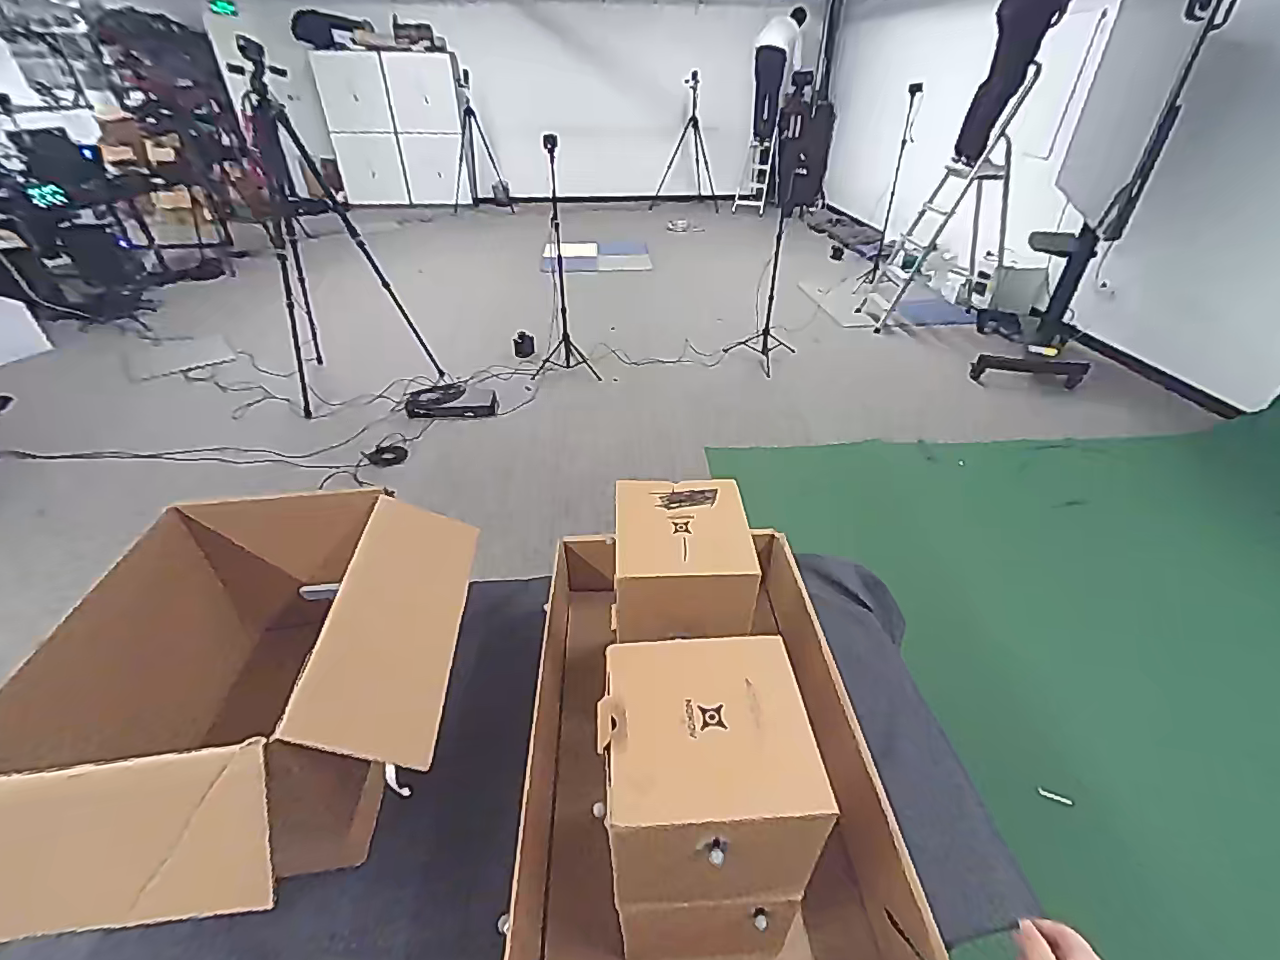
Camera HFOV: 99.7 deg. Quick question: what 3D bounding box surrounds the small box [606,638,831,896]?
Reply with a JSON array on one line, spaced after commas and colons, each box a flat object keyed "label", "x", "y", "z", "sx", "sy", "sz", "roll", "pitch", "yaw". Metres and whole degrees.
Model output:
[{"label": "small box", "x": 0.059, "y": 0.275, "z": 0.524, "sx": 0.179, "sy": 0.176, "sz": 0.168, "roll": -2, "pitch": 36, "yaw": -3}]

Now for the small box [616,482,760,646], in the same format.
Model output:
[{"label": "small box", "x": 0.052, "y": 0.121, "z": 0.725, "sx": 0.168, "sy": 0.176, "sz": 0.179, "roll": -1, "pitch": 39, "yaw": -2}]
